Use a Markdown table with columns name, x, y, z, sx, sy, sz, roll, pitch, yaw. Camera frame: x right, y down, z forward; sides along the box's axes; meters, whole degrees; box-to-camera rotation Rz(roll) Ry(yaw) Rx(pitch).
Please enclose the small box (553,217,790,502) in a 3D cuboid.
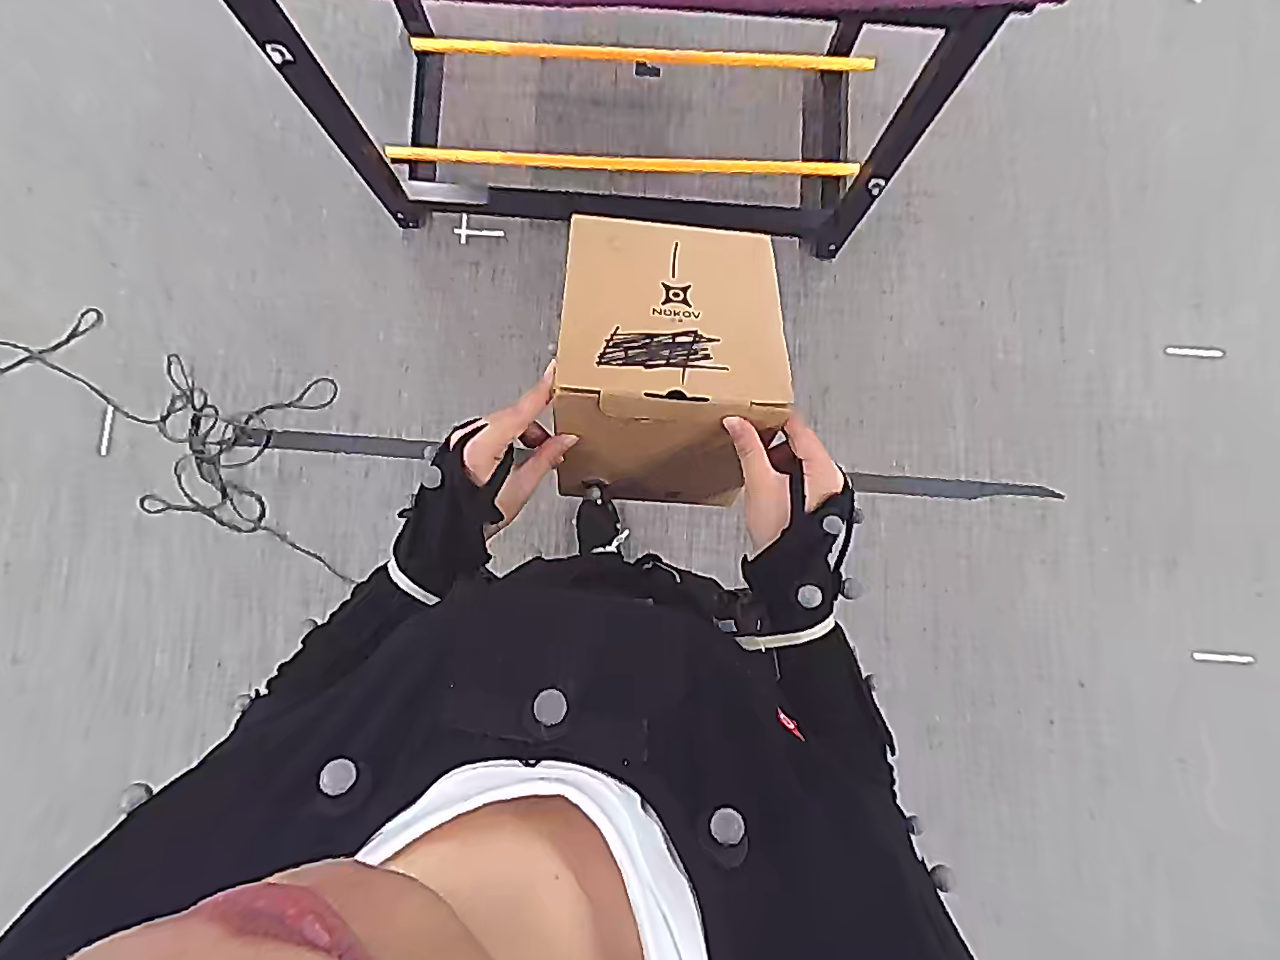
| name | x | y | z | sx | sy | sz | roll | pitch | yaw |
| --- | --- | --- | --- | --- | --- | --- | --- | --- | --- |
| small box | 0.018 | -0.093 | 0.473 | 0.168 | 0.176 | 0.179 | 4 | 62 | -5 |
